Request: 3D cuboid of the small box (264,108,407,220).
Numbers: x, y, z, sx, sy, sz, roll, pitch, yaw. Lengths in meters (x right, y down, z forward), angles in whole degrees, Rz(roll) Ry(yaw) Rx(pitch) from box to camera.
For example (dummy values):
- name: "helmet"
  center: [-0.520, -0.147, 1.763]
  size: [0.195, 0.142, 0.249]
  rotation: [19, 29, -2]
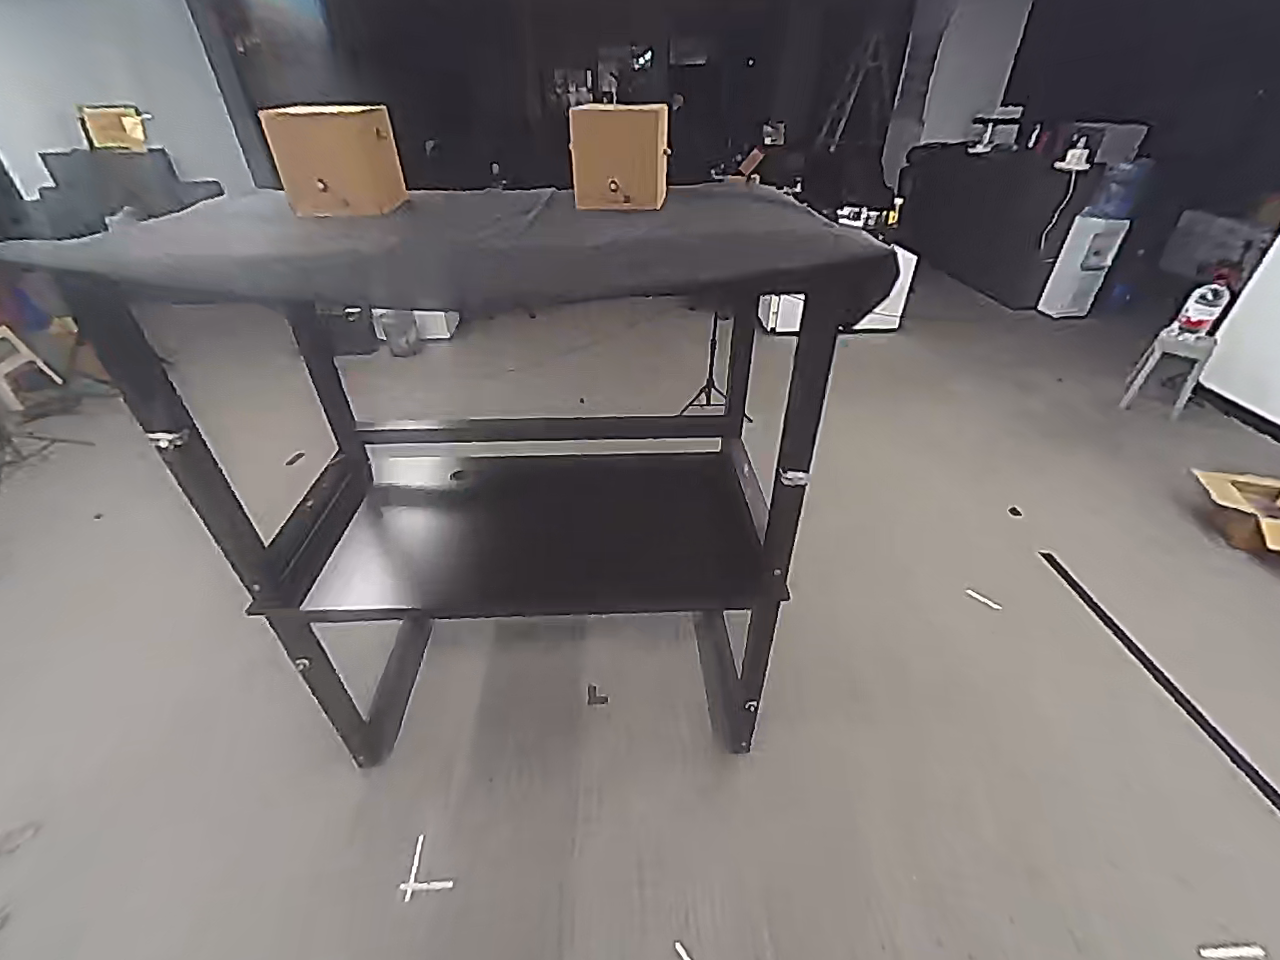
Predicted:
- name: "small box"
  center: [-0.566, -0.609, 1.037]
  size: [0.168, 0.176, 0.179]
  rotation: [-3, 37, -3]
